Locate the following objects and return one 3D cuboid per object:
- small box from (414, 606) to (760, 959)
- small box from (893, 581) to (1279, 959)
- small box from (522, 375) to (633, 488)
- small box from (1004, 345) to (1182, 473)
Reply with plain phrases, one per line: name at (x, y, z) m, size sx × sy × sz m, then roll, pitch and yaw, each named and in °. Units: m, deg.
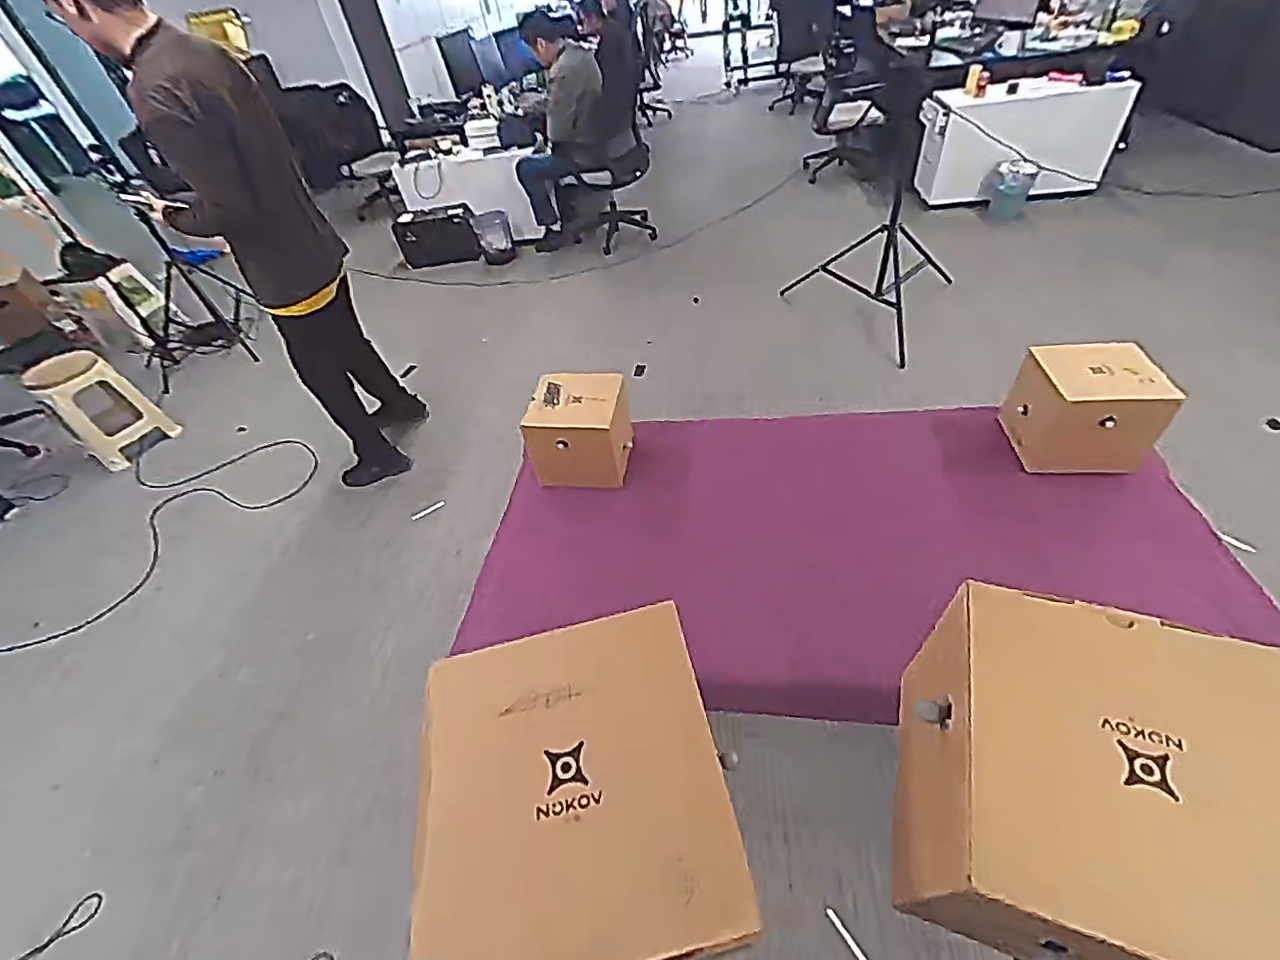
small box at (-0.029, 0.216, 0.356) m, size 0.168 × 0.176 × 0.179 m, roll -14°, pitch 47°, yaw -4°
small box at (0.268, 0.197, 0.341) m, size 0.168 × 0.176 × 0.179 m, roll 11°, pitch 51°, yaw 18°
small box at (-0.118, -0.098, 1.109) m, size 0.179 × 0.176 × 0.168 m, roll 2°, pitch 47°, yaw 10°
small box at (0.796, -0.125, 0.981) m, size 0.179 × 0.176 × 0.168 m, roll 0°, pitch 46°, yaw 9°
